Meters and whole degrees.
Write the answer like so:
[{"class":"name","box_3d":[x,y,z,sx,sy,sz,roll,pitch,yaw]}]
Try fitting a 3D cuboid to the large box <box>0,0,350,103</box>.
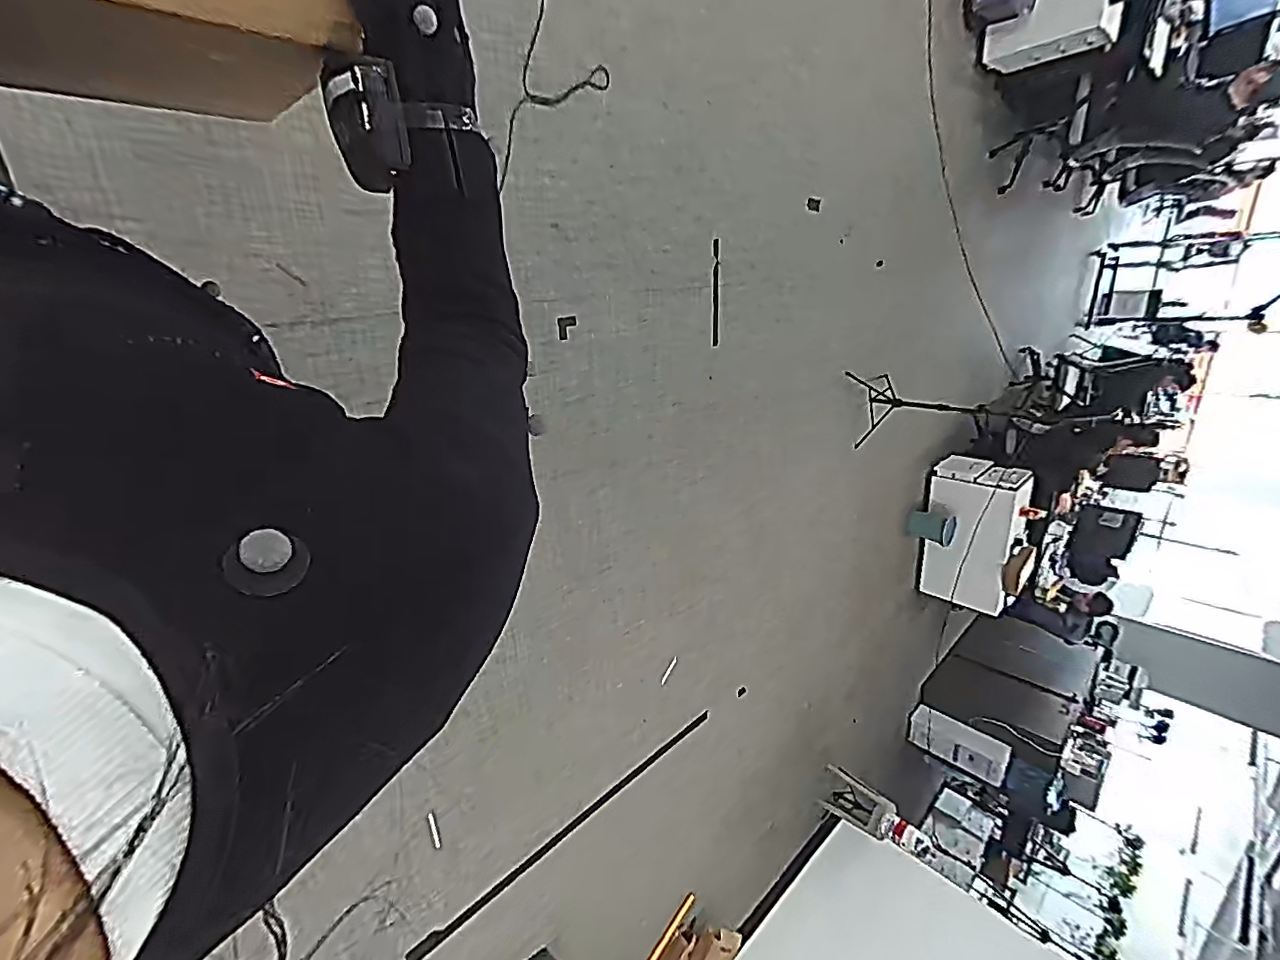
[{"class":"large box","box_3d":[-0.421,-0.406,0.248,0.408,0.320,0.320,-19,123,-38]}]
